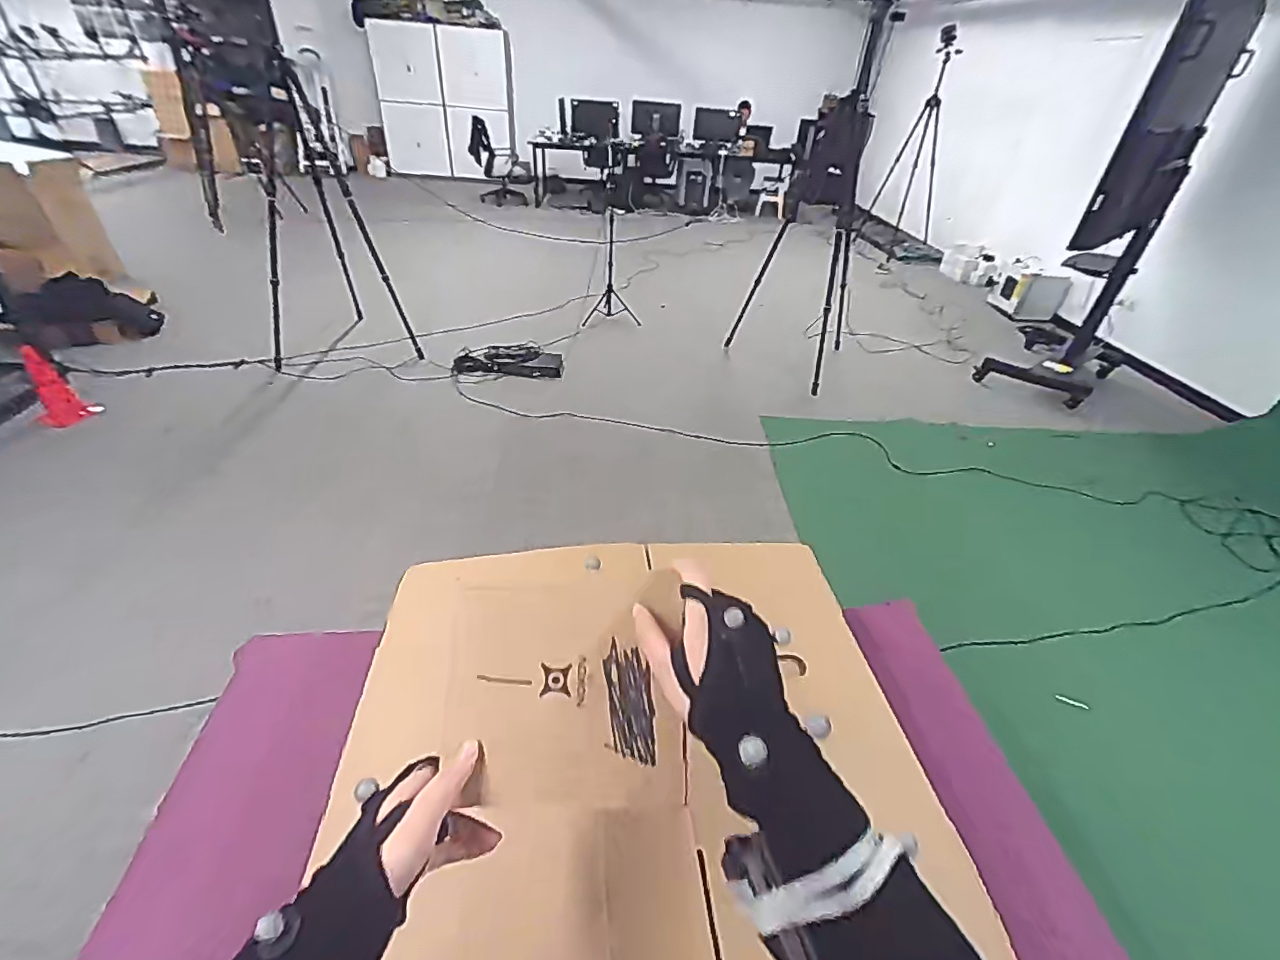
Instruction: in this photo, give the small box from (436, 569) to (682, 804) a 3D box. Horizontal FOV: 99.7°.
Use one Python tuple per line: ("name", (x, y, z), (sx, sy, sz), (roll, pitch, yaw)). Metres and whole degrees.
("small box", (-0.058, 0.171, 0.481), (0.179, 0.176, 0.168), (0, 74, 0))
